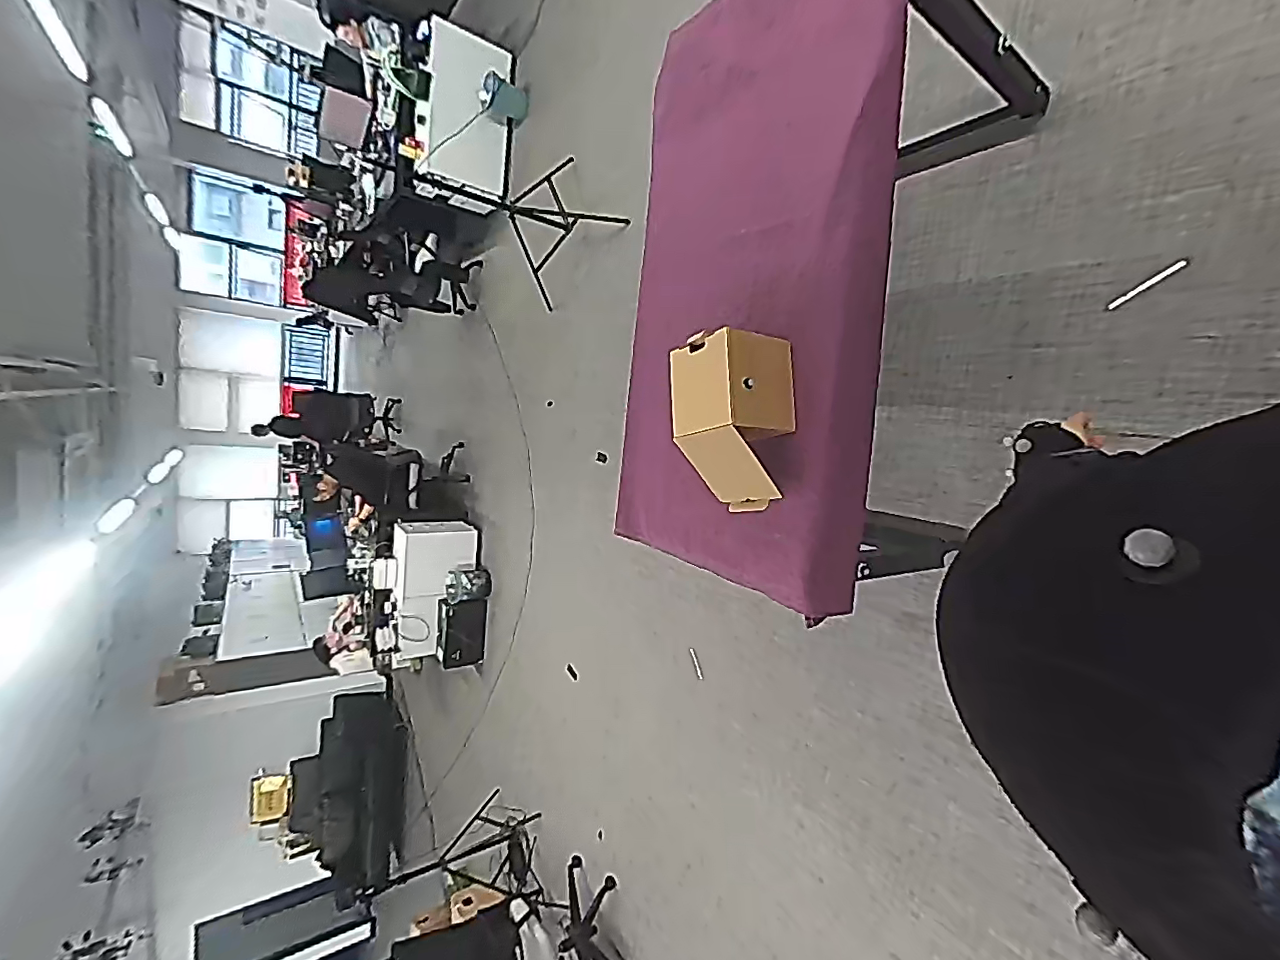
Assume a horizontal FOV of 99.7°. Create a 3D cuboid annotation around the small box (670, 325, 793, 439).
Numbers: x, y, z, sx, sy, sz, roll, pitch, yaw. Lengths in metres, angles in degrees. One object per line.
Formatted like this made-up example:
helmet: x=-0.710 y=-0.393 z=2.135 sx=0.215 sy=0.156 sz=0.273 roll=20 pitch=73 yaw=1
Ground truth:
small box: x=0.175 y=-0.174 z=1.029 sx=0.168 sy=0.176 sz=0.179 roll=-8 pitch=82 yaw=55
